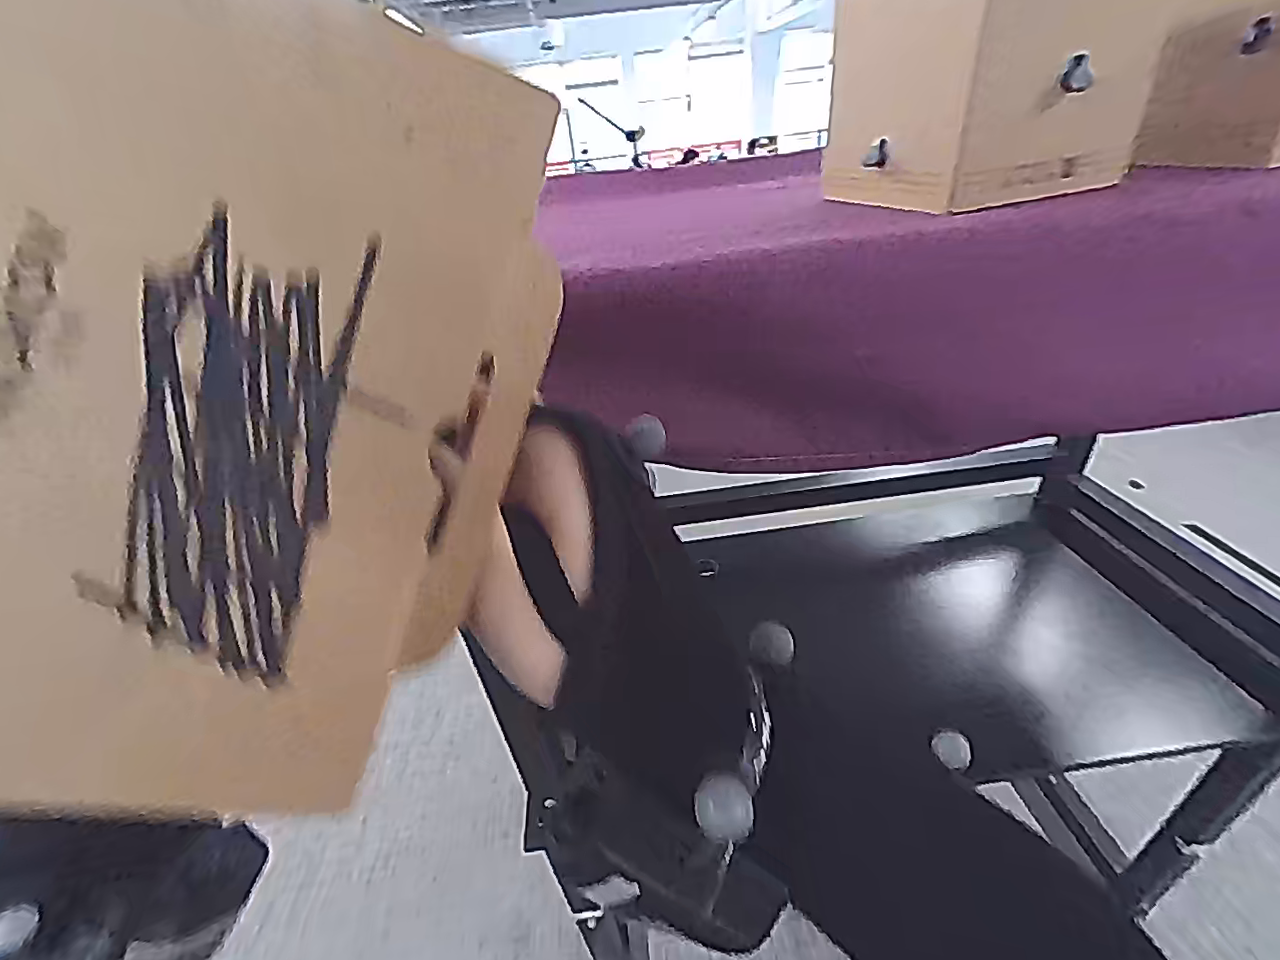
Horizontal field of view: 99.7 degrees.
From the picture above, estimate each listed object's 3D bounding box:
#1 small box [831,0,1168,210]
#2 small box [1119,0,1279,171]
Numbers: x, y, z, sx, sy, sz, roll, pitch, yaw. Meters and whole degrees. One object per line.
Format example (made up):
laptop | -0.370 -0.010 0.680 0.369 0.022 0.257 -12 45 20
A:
small box | 0.278 -0.327 0.444 0.168 0.176 0.179 -14 33 -10
small box | 0.545 -0.369 0.460 0.168 0.176 0.179 -10 32 -5
